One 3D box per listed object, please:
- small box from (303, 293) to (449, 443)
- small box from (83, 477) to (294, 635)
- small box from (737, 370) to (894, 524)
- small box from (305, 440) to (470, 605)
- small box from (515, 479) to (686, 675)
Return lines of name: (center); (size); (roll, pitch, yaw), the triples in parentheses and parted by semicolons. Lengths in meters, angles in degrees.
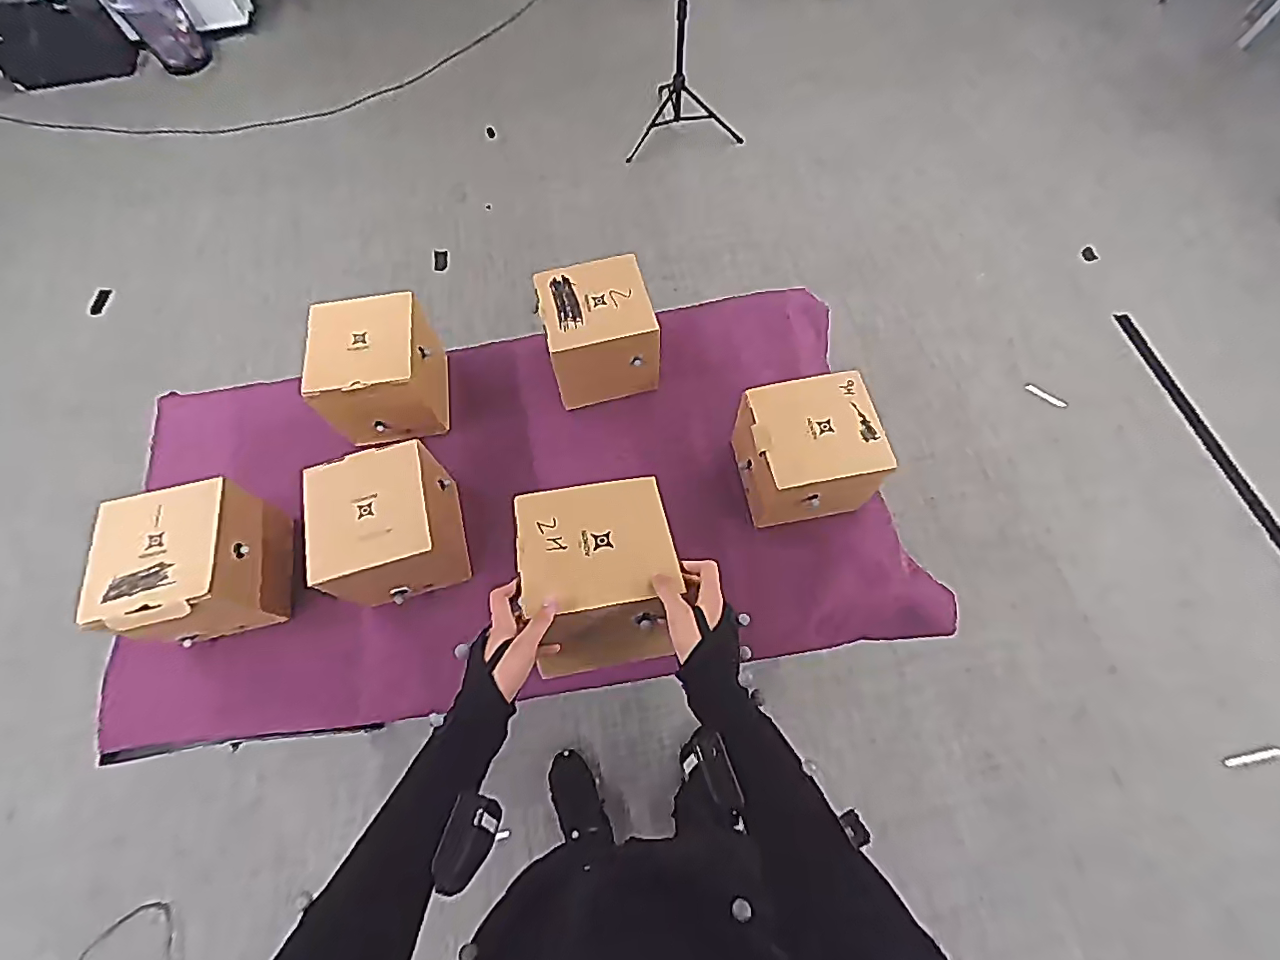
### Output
small box: (-0.434, -0.184, 0.916); (0.168, 0.176, 0.179); (-9, 67, -3)
small box: (-0.639, 0.121, 0.792); (0.168, 0.176, 0.179); (-13, 65, -4)
small box: (0.253, -0.042, 0.836); (0.179, 0.176, 0.168); (-10, 67, -1)
small box: (-0.369, 0.069, 0.809); (0.168, 0.176, 0.179); (-16, 67, -4)
small box: (-0.052, 0.122, 0.670); (0.179, 0.176, 0.168); (-9, 51, -7)
